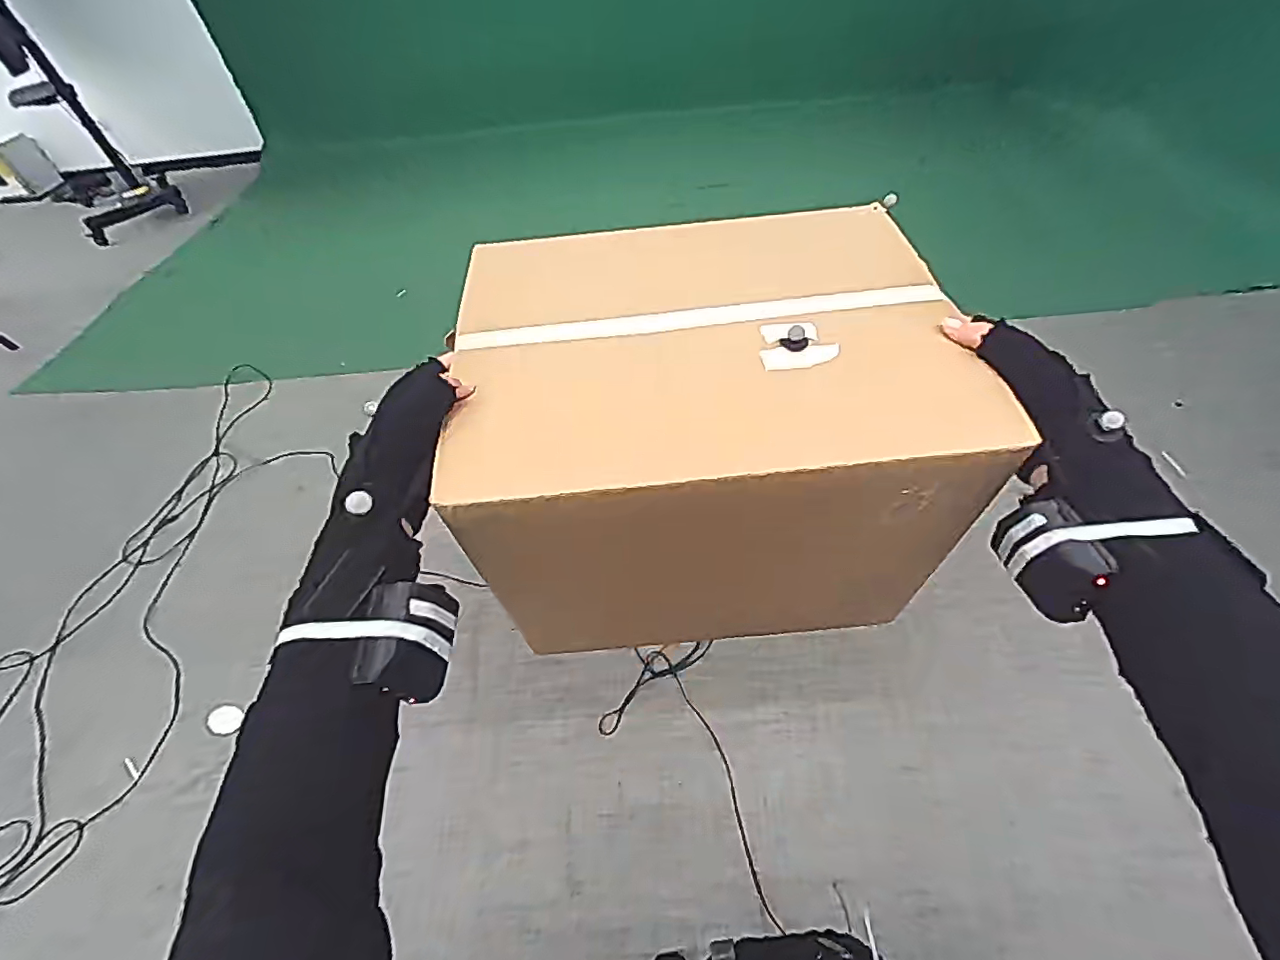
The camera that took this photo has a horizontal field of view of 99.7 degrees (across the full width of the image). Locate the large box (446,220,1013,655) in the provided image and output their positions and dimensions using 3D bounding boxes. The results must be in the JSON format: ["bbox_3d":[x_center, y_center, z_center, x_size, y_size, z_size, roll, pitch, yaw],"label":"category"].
[{"bbox_3d":[0.056,-0.032,0.575,0.408,0.320,0.320,-6,54,0],"label":"large box"}]
